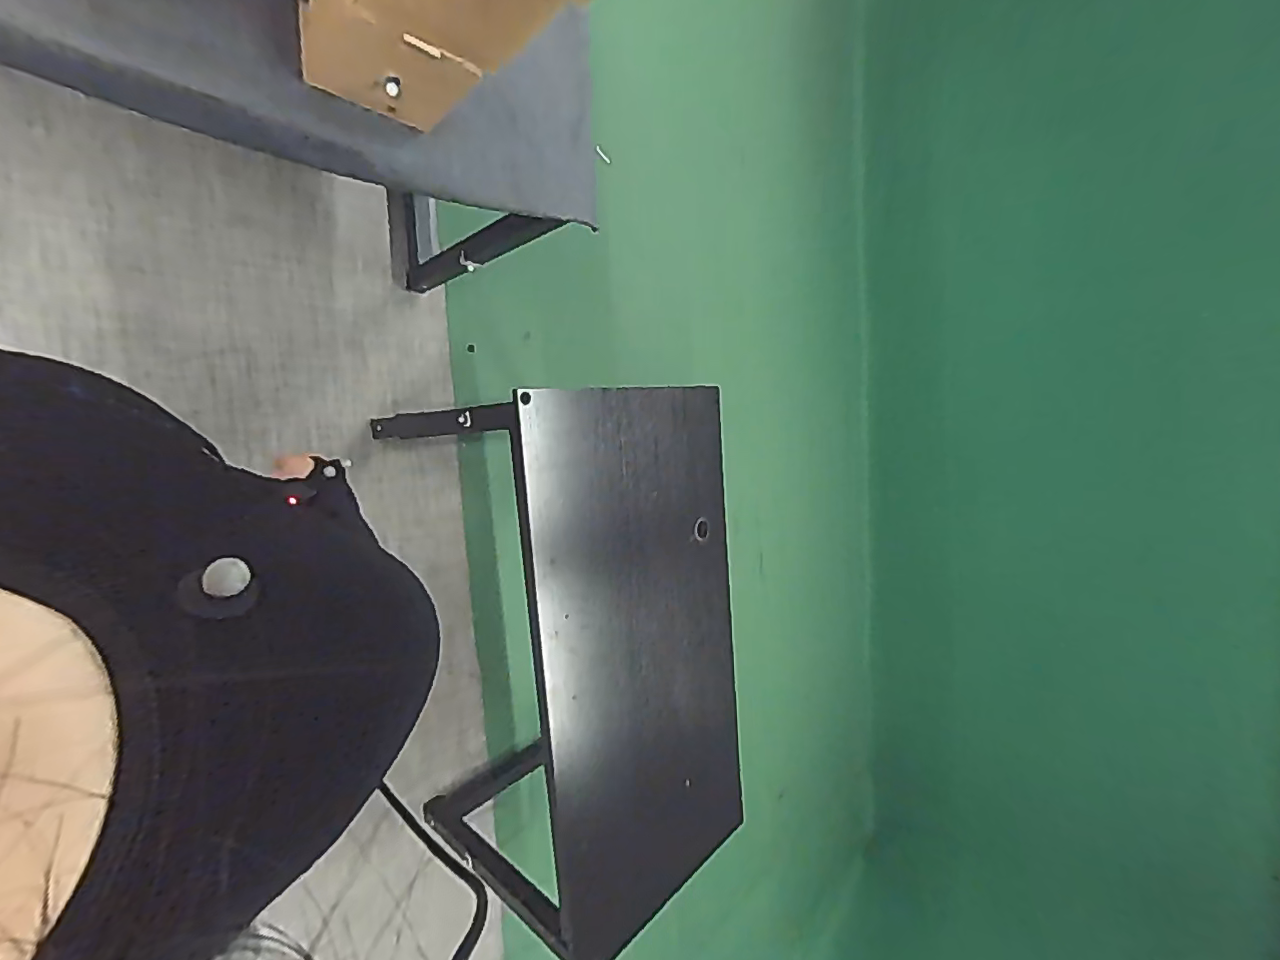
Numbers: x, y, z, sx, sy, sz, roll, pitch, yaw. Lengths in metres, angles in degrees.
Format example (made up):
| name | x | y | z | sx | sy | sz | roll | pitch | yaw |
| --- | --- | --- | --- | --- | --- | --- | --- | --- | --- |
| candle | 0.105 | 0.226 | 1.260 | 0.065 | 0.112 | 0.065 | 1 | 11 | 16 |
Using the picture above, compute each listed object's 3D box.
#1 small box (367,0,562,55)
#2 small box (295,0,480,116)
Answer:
| name | x | y | z | sx | sy | sz | roll | pitch | yaw |
| --- | --- | --- | --- | --- | --- | --- | --- | --- | --- |
| small box | -0.194 | -0.602 | 0.571 | 0.179 | 0.176 | 0.168 | -8 | 96 | -45 |
| small box | -0.318 | -0.604 | 0.678 | 0.168 | 0.176 | 0.179 | -5 | 95 | -45 |
